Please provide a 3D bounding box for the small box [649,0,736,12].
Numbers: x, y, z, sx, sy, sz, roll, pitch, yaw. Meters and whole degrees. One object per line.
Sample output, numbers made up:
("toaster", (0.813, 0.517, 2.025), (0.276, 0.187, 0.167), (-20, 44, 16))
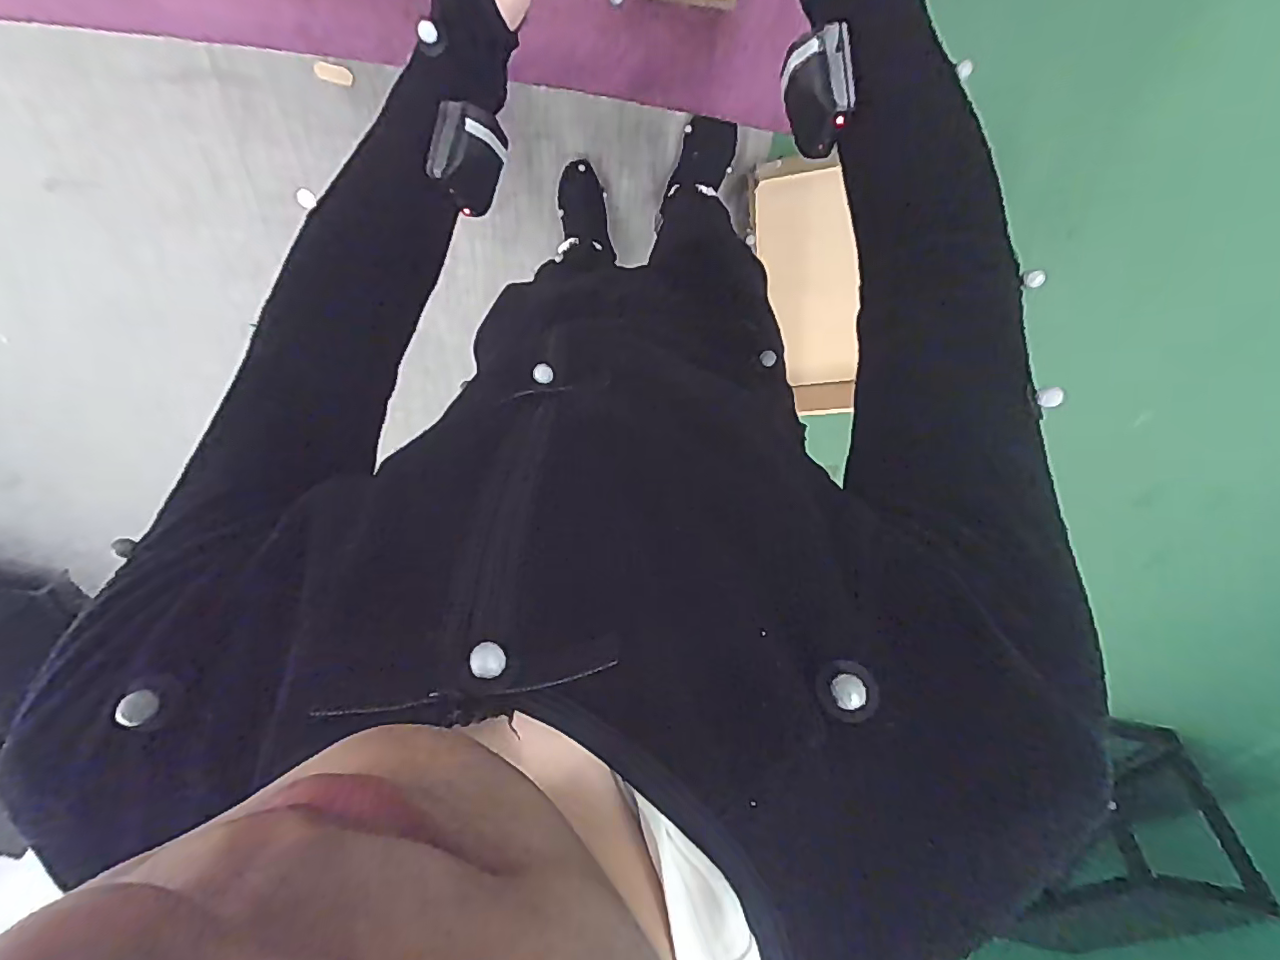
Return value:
("small box", (0.016, -0.499, 0.426), (0.168, 0.176, 0.179), (11, 130, 1))
